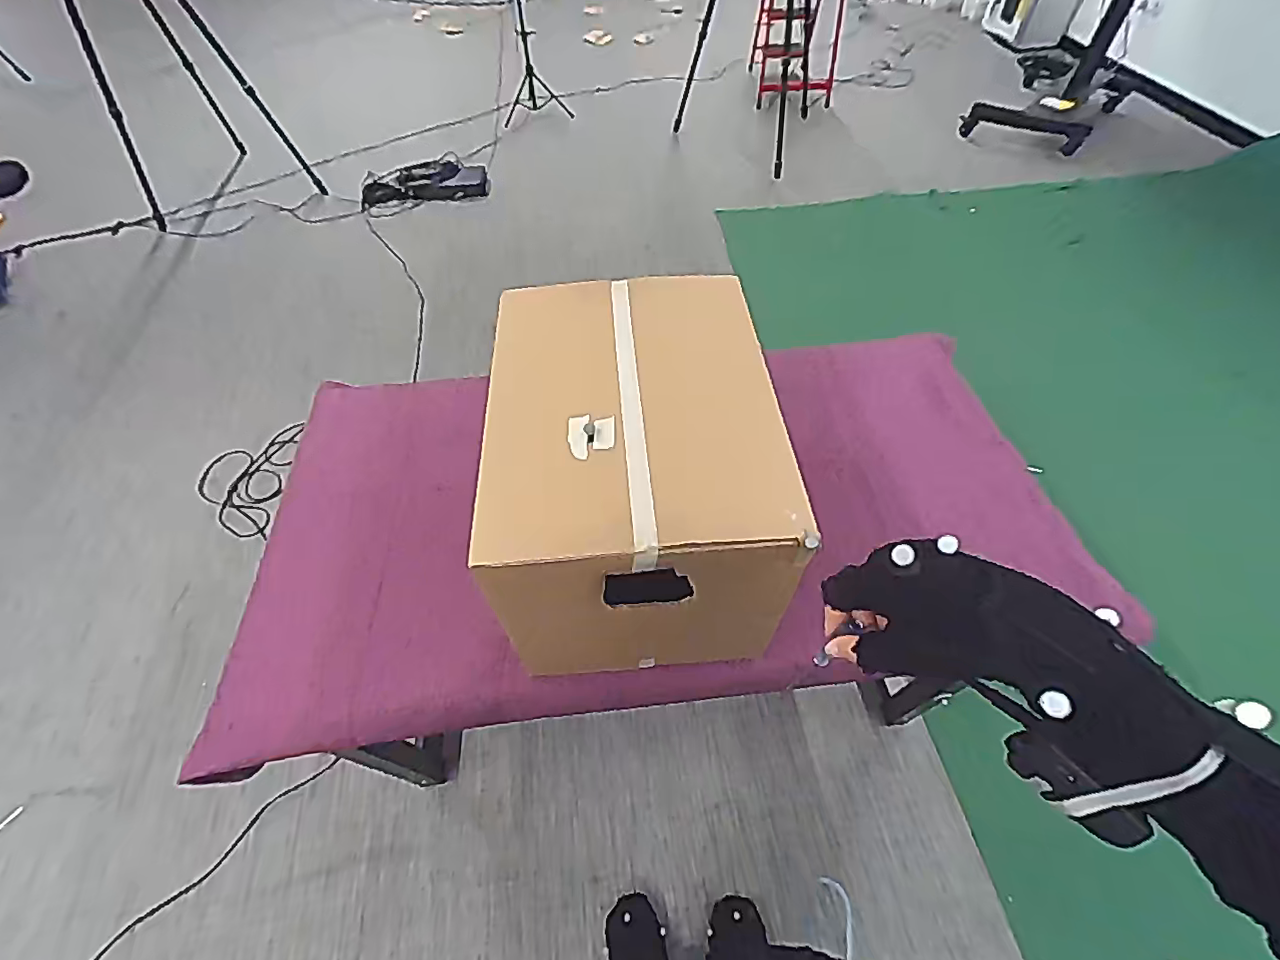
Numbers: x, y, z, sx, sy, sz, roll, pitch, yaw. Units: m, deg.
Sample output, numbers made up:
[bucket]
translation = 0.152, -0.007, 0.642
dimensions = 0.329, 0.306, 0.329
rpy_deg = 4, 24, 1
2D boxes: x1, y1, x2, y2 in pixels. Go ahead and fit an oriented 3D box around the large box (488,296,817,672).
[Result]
[large box]
translation = -0.003, 0.004, 0.730
dimensions = 0.320, 0.320, 0.408
rpy_deg = -4, 54, -2
